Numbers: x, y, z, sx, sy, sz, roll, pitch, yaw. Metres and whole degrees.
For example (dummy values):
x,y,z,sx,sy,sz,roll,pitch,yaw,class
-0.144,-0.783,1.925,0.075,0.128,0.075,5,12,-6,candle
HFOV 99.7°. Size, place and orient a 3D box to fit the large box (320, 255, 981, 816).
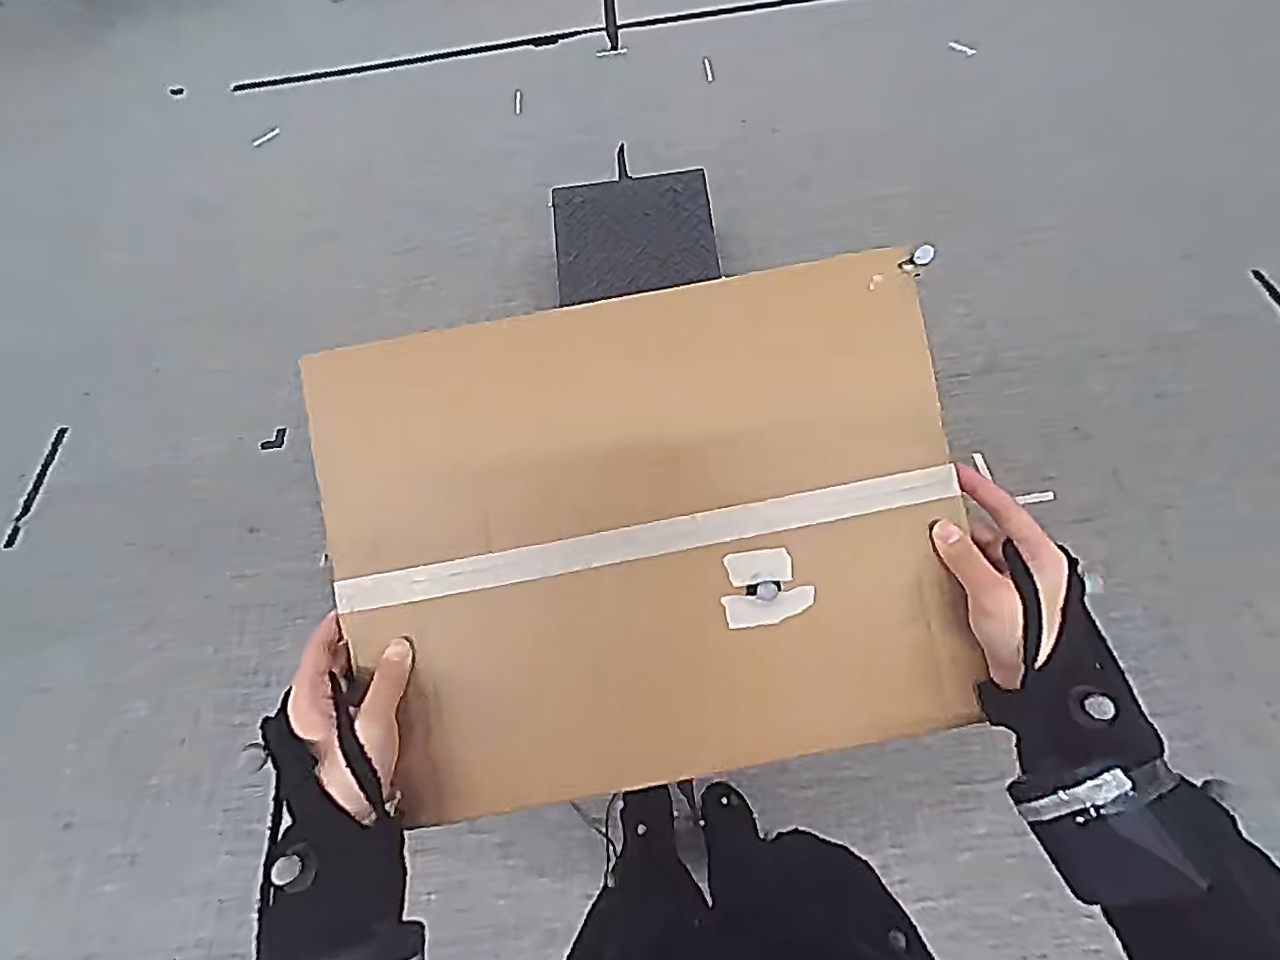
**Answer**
x,y,z,sx,sy,sz,roll,pitch,yaw,class
0.004,0.039,0.511,0.408,0.320,0.320,-11,89,-1,large box
